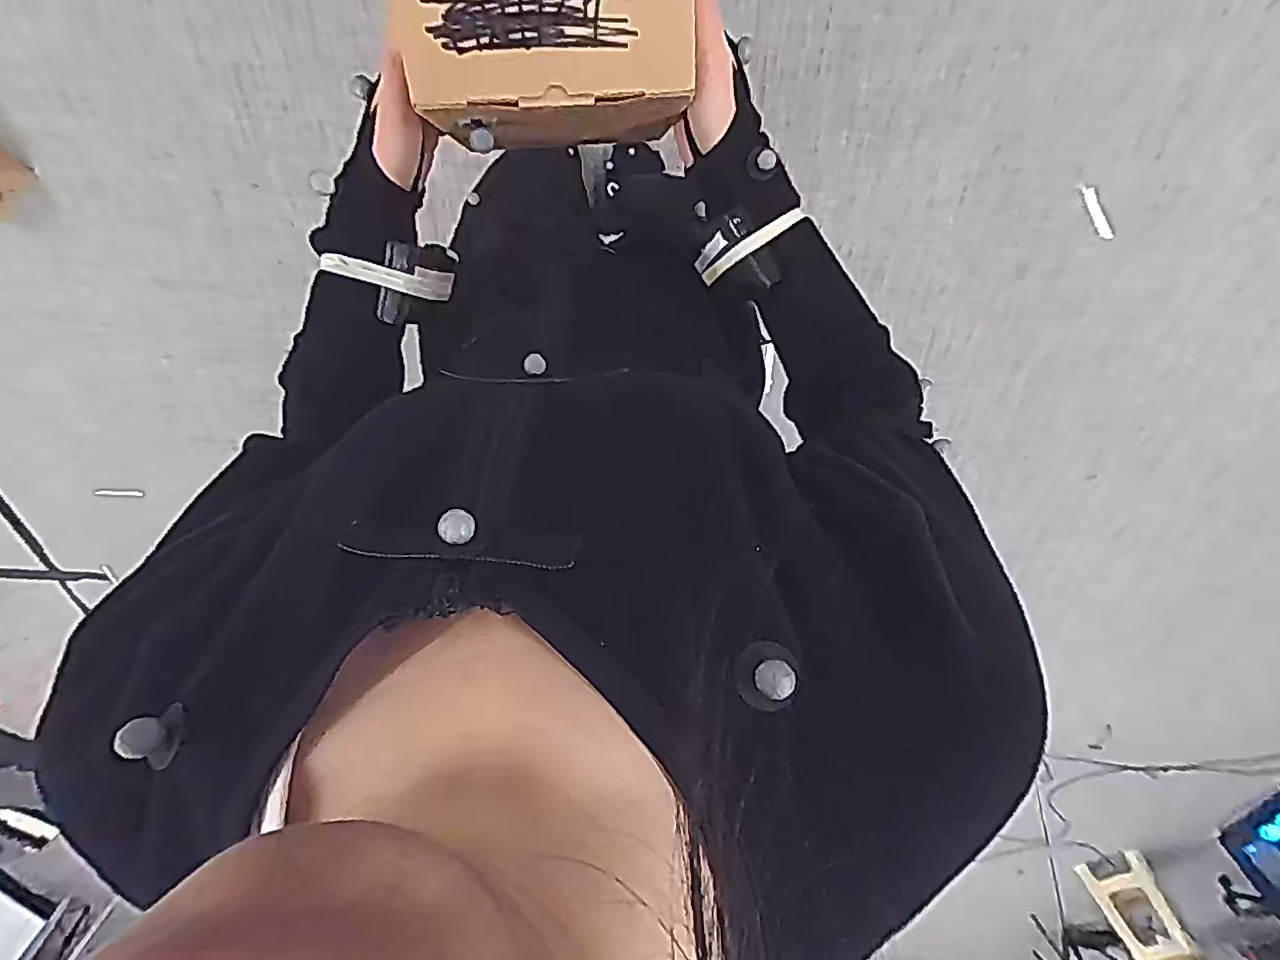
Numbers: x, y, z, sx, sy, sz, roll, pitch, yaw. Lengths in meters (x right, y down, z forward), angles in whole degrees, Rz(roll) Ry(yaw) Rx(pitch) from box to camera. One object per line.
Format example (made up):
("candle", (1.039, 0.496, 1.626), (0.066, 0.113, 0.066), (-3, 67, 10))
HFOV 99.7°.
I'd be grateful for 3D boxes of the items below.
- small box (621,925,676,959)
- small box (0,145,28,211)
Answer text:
("small box", (0.028, 1.572, 1.754), (0.179, 0.176, 0.168), (-1, 126, 2))
("small box", (-1.494, -0.677, 1.150), (0.168, 0.176, 0.179), (-31, 117, 19))
